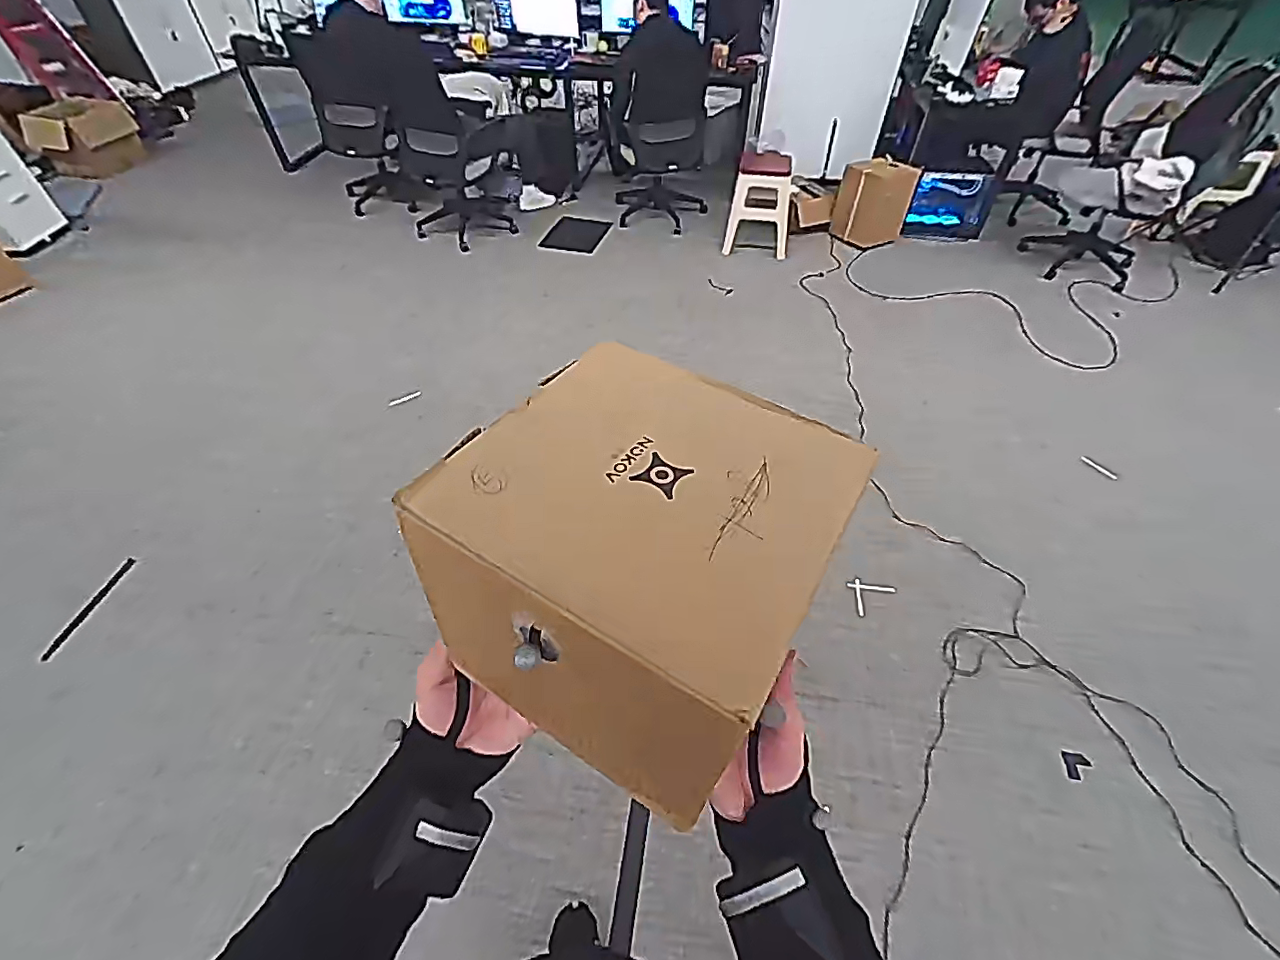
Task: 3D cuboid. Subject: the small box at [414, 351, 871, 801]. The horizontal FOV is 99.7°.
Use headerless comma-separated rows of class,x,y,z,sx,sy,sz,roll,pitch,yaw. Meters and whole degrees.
small box,0.003,0.056,0.325,0.179,0.176,0.168,27,51,18
